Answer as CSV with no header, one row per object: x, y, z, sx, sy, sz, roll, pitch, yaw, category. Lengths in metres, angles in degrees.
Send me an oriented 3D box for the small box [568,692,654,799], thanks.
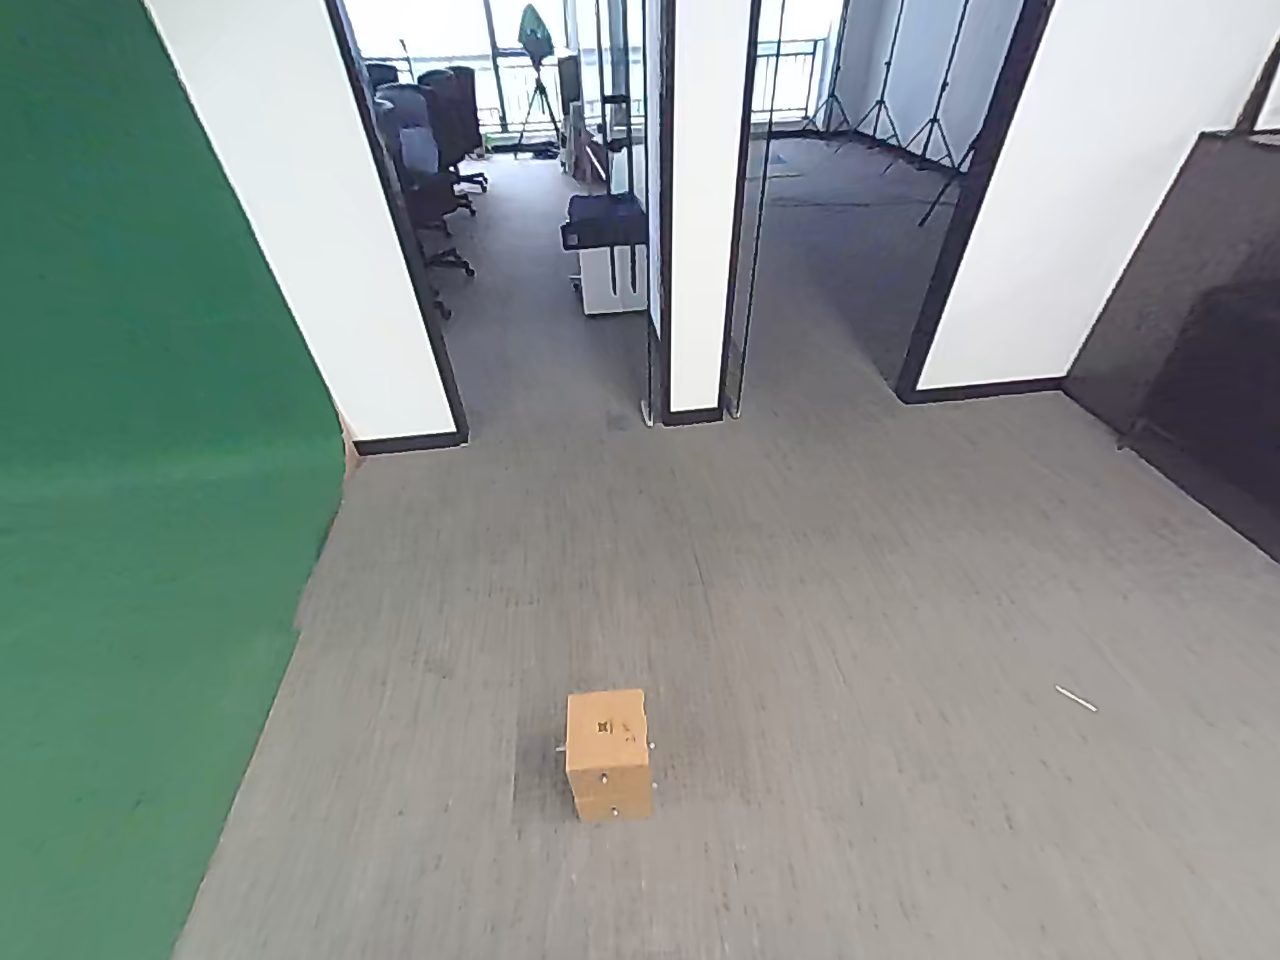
-0.064,0.606,1.228,0.179,0.176,0.168,-4,42,-1,small box
